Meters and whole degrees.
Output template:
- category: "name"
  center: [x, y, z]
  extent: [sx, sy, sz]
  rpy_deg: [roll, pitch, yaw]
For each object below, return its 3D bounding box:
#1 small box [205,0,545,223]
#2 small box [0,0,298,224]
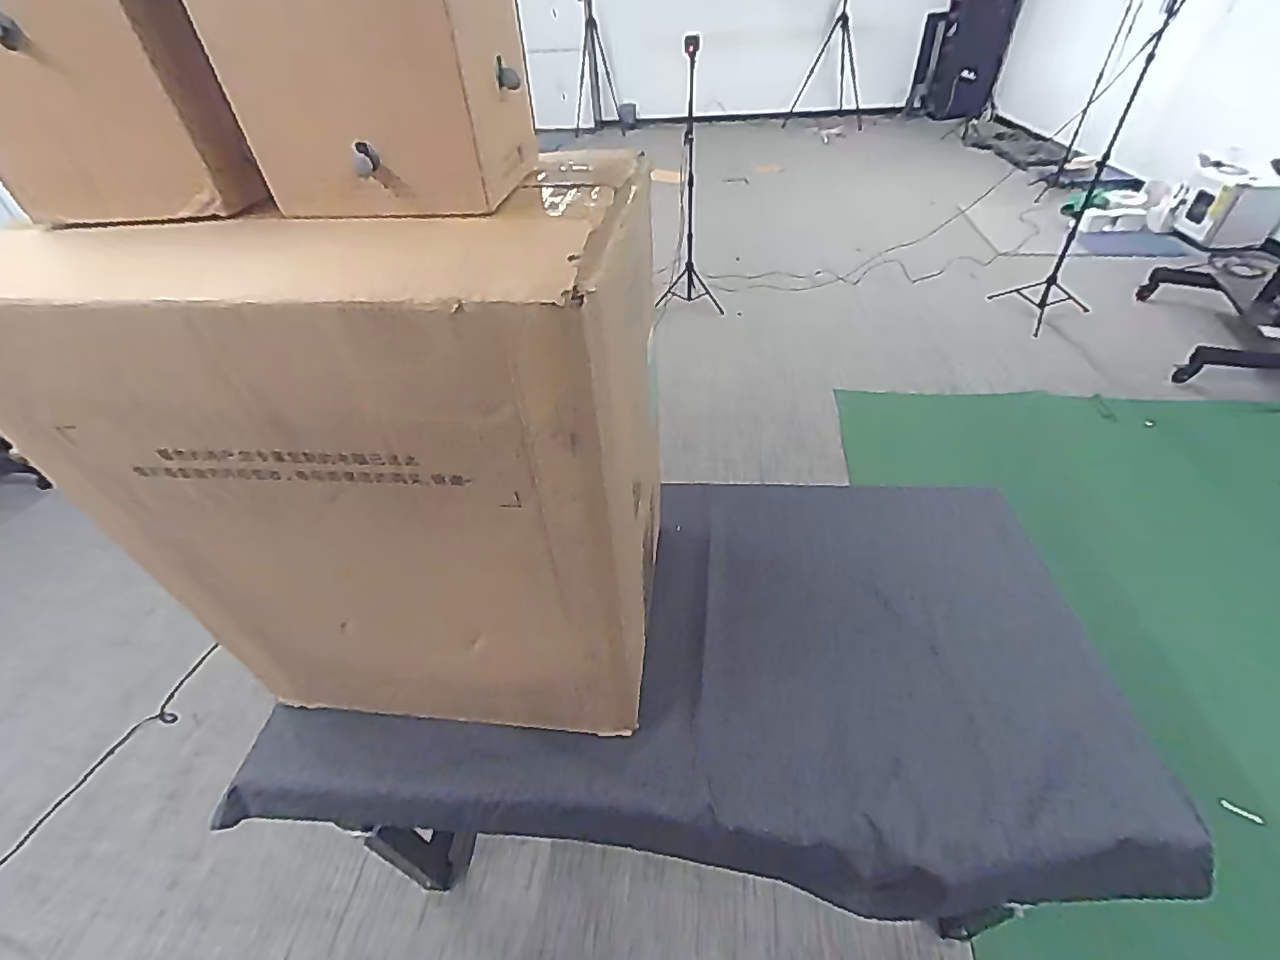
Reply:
- category: "small box"
  center: [-0.185, -0.320, 0.437]
  extent: [0.179, 0.176, 0.168]
  rpy_deg: [1, 42, 6]
- category: "small box"
  center: [-0.406, -0.328, 0.458]
  extent: [0.179, 0.176, 0.168]
  rpy_deg: [0, 43, 3]
